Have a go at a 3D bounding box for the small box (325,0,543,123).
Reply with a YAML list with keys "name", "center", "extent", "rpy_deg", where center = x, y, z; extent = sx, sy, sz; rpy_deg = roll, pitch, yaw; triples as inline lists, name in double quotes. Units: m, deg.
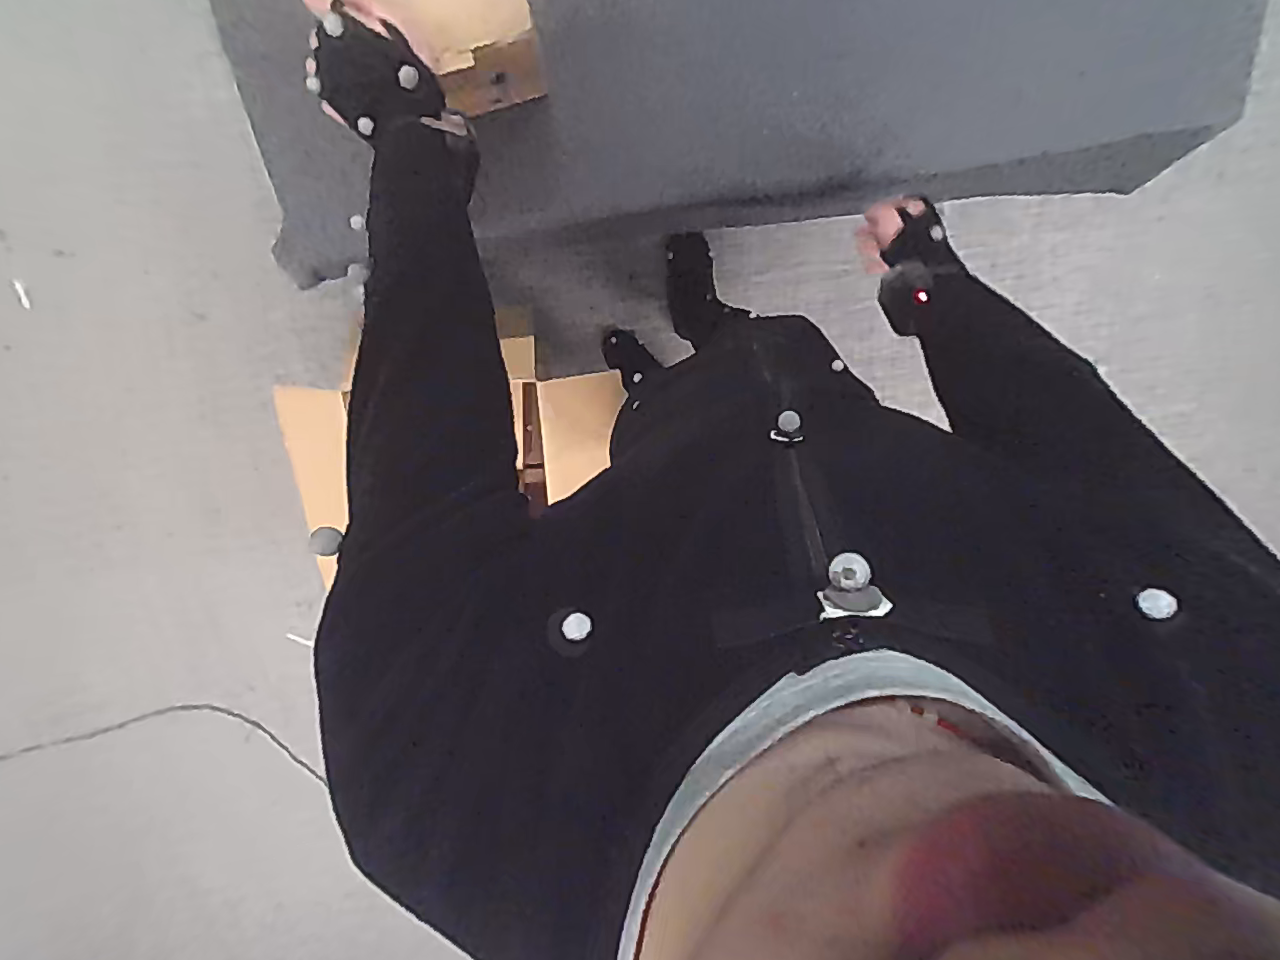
- name: "small box"
  center: [-0.201, -0.477, 0.525]
  extent: [0.168, 0.176, 0.179]
  rpy_deg: [-17, 110, 1]
